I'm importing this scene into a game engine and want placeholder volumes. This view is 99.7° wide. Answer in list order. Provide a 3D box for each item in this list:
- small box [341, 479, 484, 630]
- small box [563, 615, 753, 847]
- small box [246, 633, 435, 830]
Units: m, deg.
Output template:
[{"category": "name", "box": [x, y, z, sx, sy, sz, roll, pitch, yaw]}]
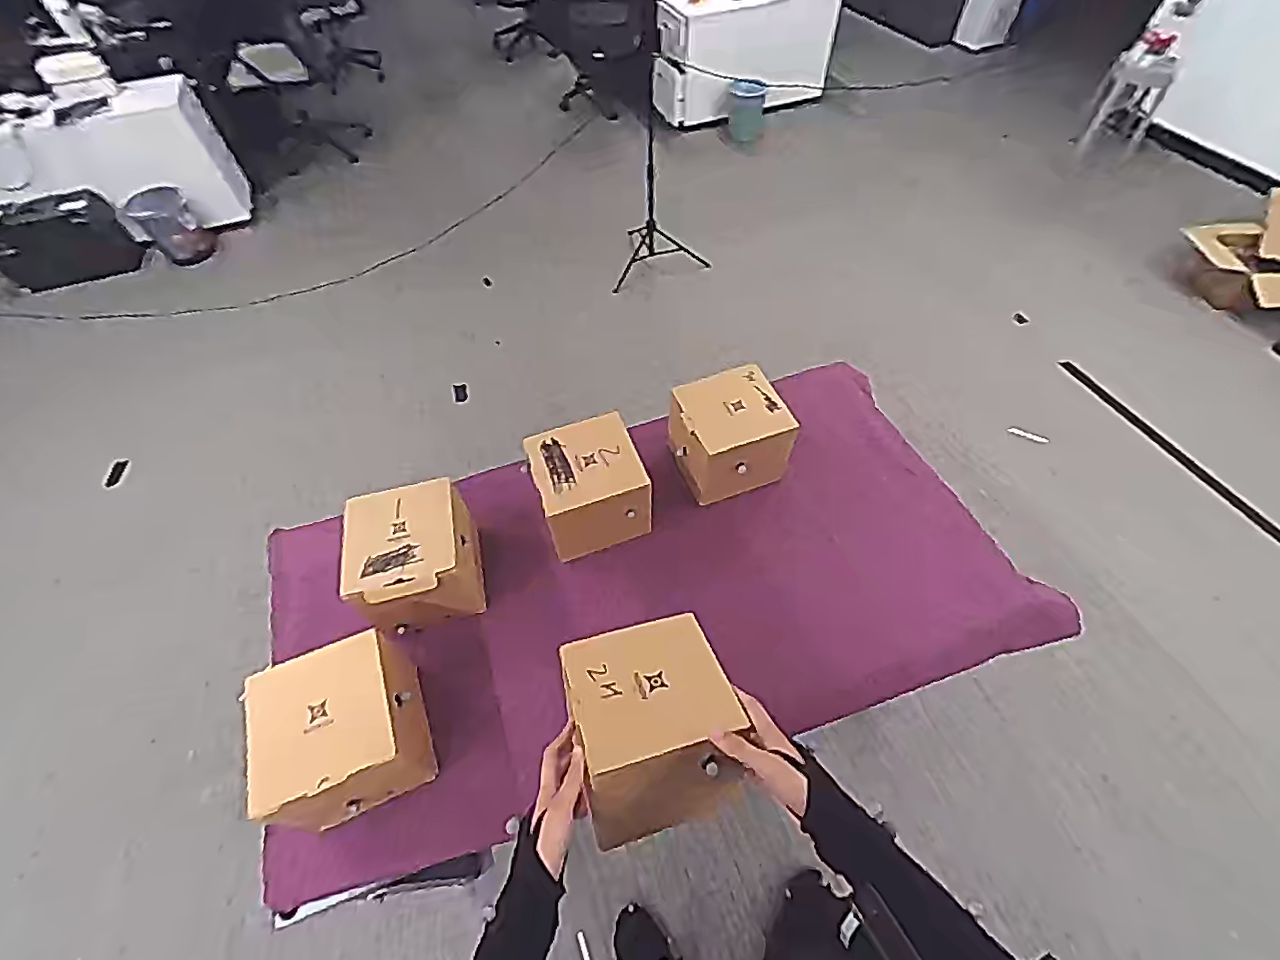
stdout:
[{"category": "small box", "box": [-0.362, 0.130, 0.882, 0.168, 0.176, 0.179, -13, 56, -8]}, {"category": "small box", "box": [0.012, 0.295, 0.646, 0.179, 0.176, 0.168, -10, 36, -14]}, {"category": "small box", "box": [-0.397, 0.342, 0.732, 0.168, 0.176, 0.179, -21, 58, -14]}]
